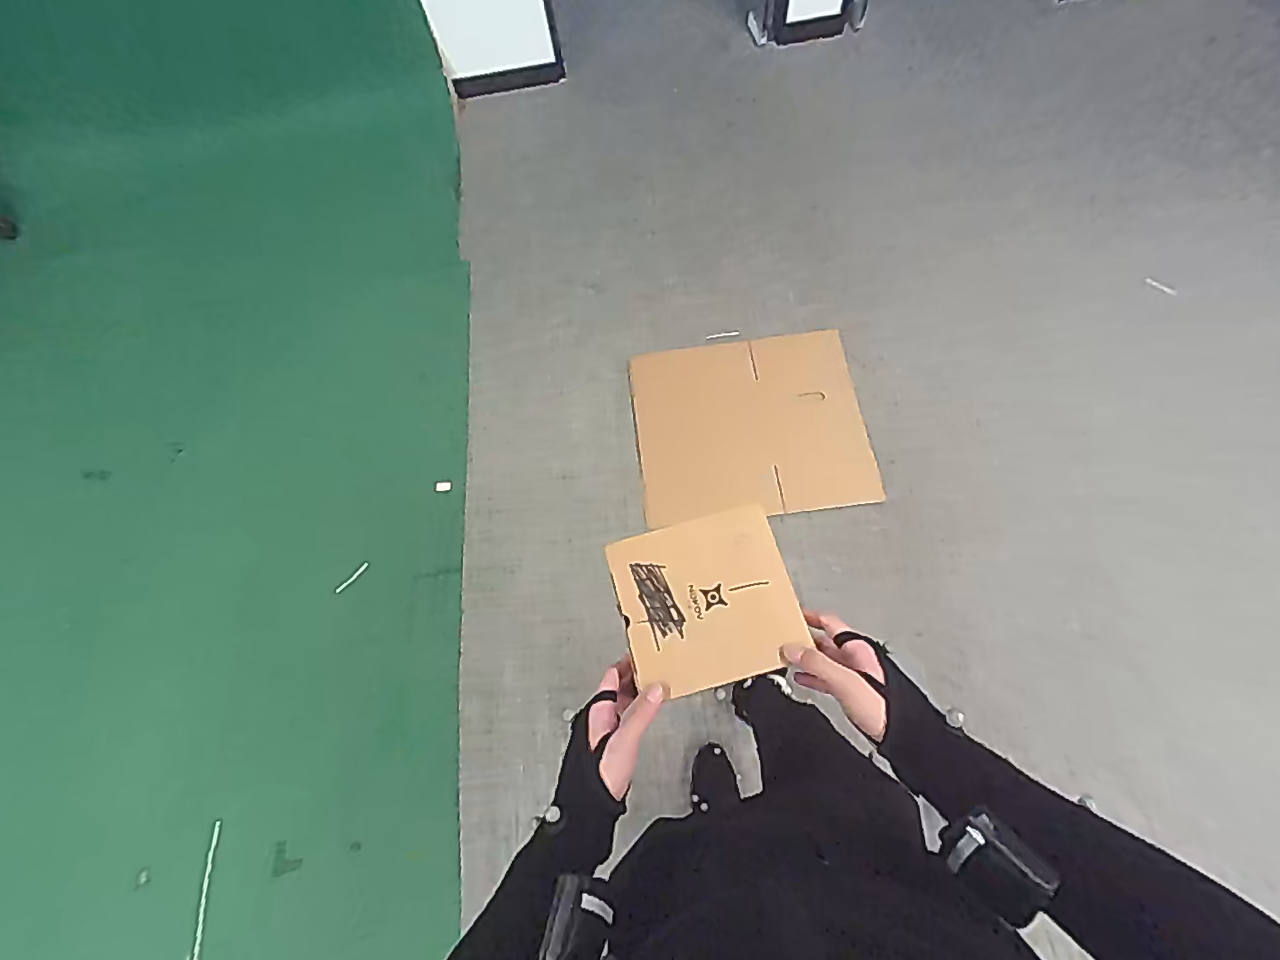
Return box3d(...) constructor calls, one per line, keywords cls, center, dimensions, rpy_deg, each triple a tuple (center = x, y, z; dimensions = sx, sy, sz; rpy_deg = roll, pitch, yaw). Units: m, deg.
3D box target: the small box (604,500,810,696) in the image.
box3d(cls="small box", center=(0.073, 0.145, 0.623), dimensions=(0.179, 0.176, 0.168), rpy_deg=(-16, 68, 0))
